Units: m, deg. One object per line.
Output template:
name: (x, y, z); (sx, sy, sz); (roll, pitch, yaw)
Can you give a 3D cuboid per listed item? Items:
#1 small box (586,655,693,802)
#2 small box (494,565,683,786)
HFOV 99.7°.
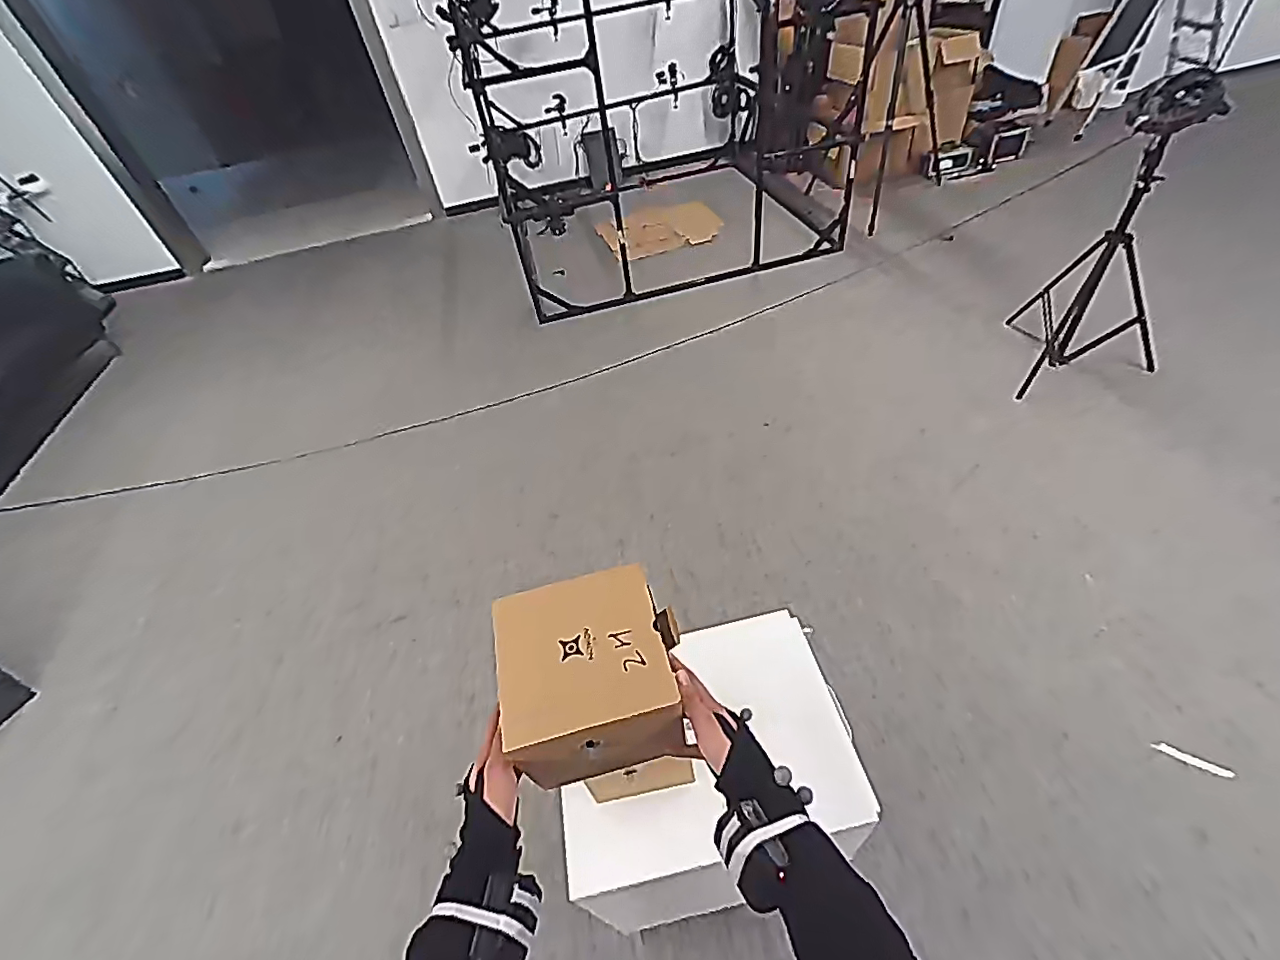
small box: (-0.013, 0.429, 0.928); (0.179, 0.176, 0.168); (-11, 45, -2)
small box: (-0.055, 0.227, 0.620); (0.179, 0.176, 0.168); (-13, 49, -5)
